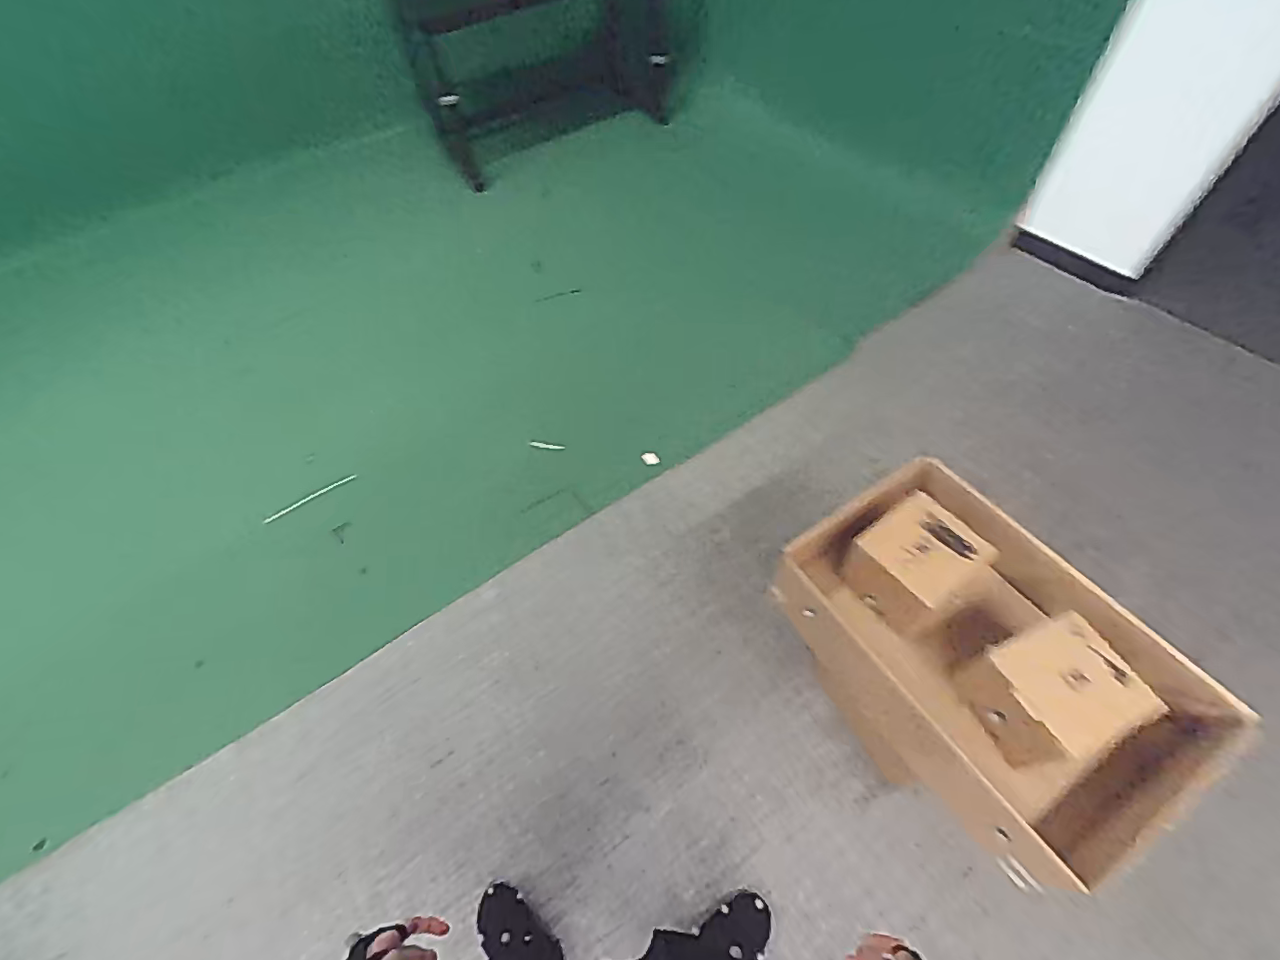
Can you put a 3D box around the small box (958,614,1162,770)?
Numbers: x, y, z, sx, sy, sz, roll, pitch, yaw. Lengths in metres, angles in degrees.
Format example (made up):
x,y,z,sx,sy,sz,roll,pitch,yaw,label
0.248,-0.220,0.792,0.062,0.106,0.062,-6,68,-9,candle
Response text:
x,y,z,sx,sy,sz,roll,pitch,yaw,label
0.657,0.350,0.879,0.179,0.176,0.168,-21,57,-8,small box
